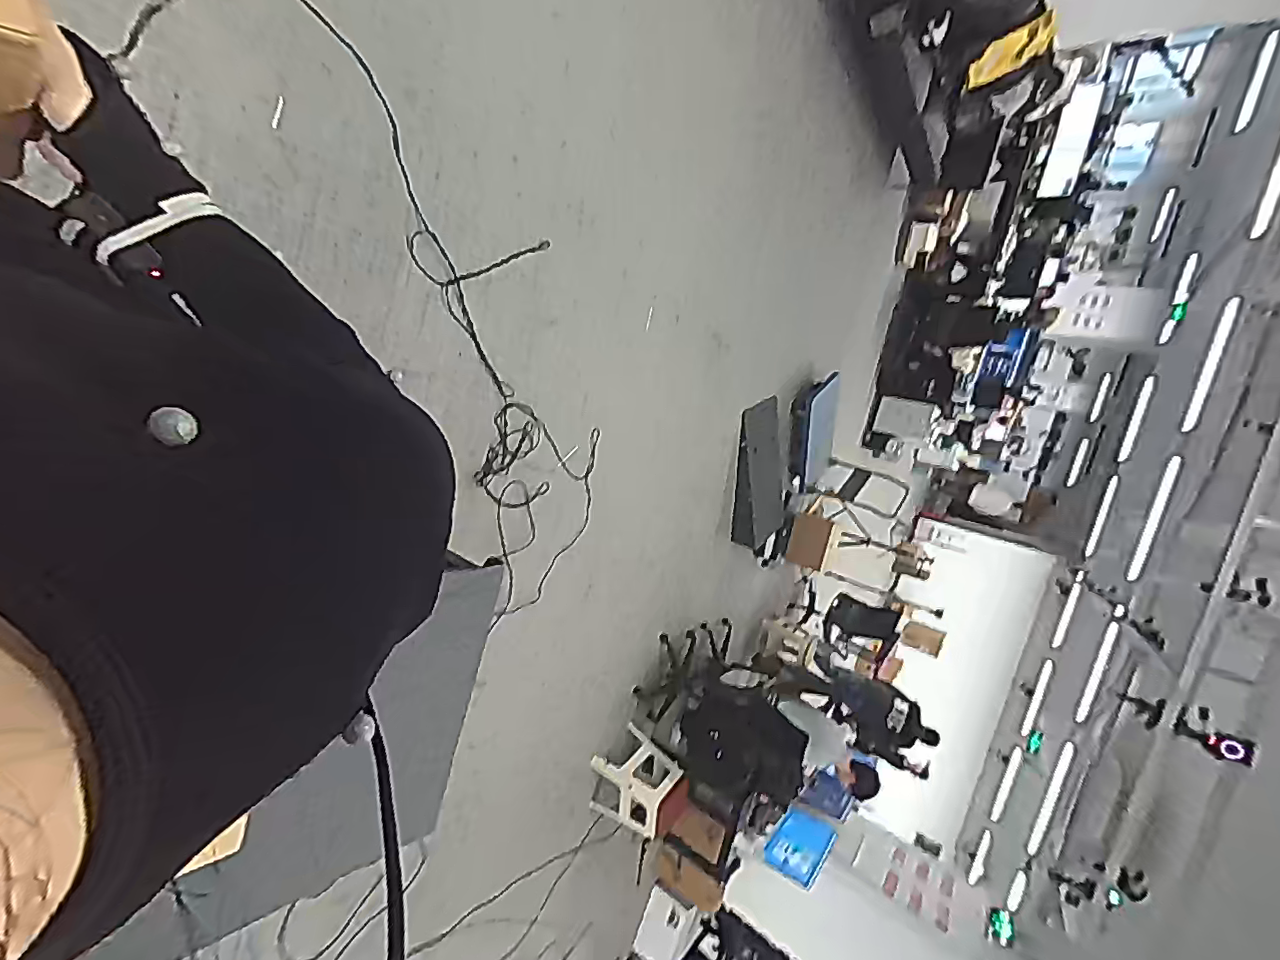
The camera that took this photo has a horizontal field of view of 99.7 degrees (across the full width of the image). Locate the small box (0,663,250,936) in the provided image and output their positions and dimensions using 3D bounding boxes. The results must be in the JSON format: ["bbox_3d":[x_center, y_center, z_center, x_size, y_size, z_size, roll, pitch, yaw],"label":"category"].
[{"bbox_3d":[-0.589,0.340,0.618,0.168,0.176,0.179,9,99,-57],"label":"small box"}]

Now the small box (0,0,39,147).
[{"bbox_3d":[-0.452,-0.301,0.264,0.168,0.176,0.179,-22,102,-53],"label":"small box"}]
